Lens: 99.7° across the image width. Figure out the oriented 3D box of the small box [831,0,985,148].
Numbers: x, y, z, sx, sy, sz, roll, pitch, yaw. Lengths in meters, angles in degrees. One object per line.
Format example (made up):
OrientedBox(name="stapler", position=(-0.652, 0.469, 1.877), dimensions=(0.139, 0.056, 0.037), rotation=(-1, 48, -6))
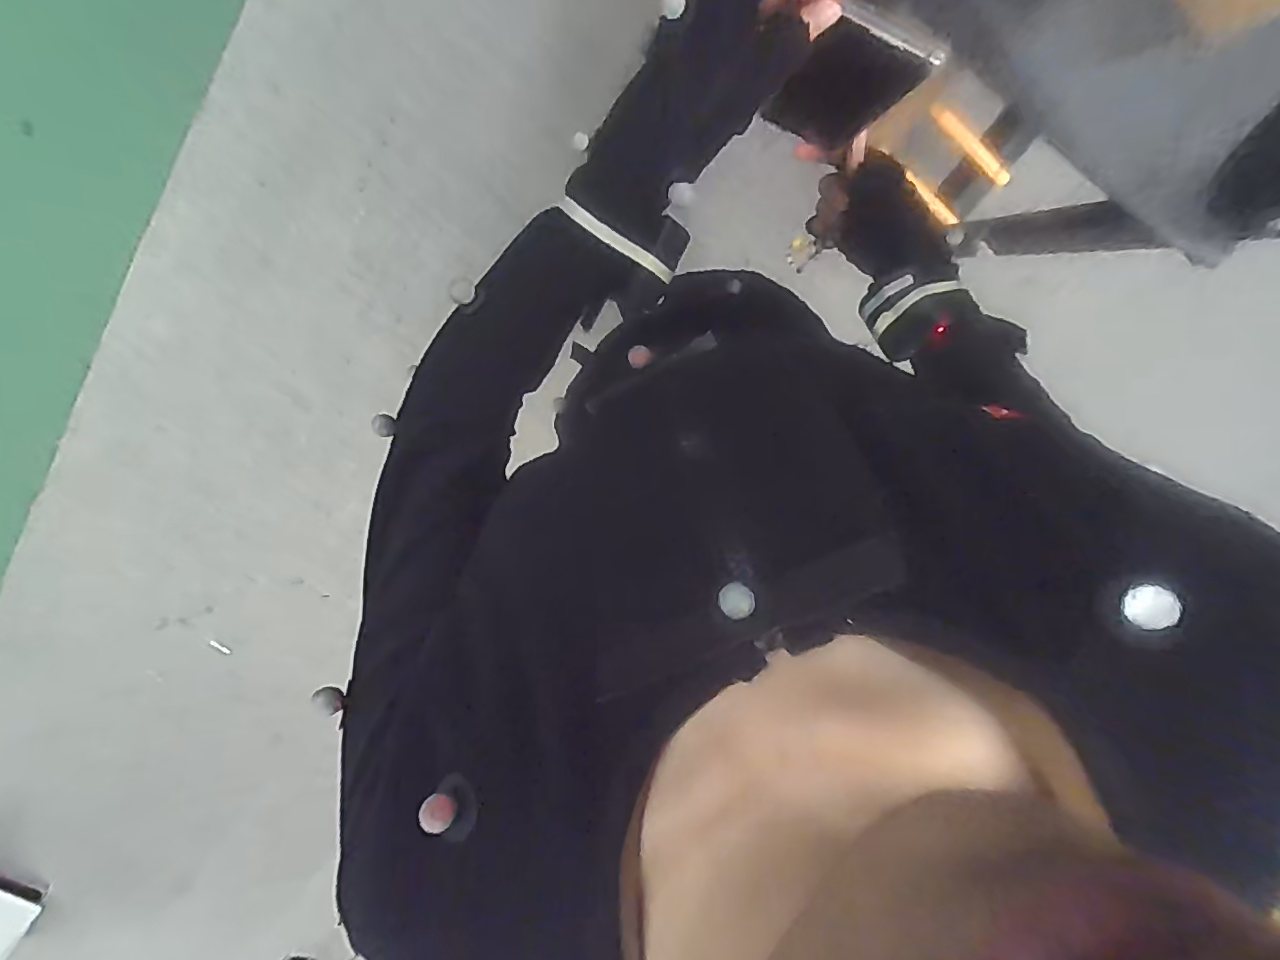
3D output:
OrientedBox(name="small box", position=(0.487, -0.768, 1.020), dimensions=(0.168, 0.176, 0.179), rotation=(39, 106, -14))
